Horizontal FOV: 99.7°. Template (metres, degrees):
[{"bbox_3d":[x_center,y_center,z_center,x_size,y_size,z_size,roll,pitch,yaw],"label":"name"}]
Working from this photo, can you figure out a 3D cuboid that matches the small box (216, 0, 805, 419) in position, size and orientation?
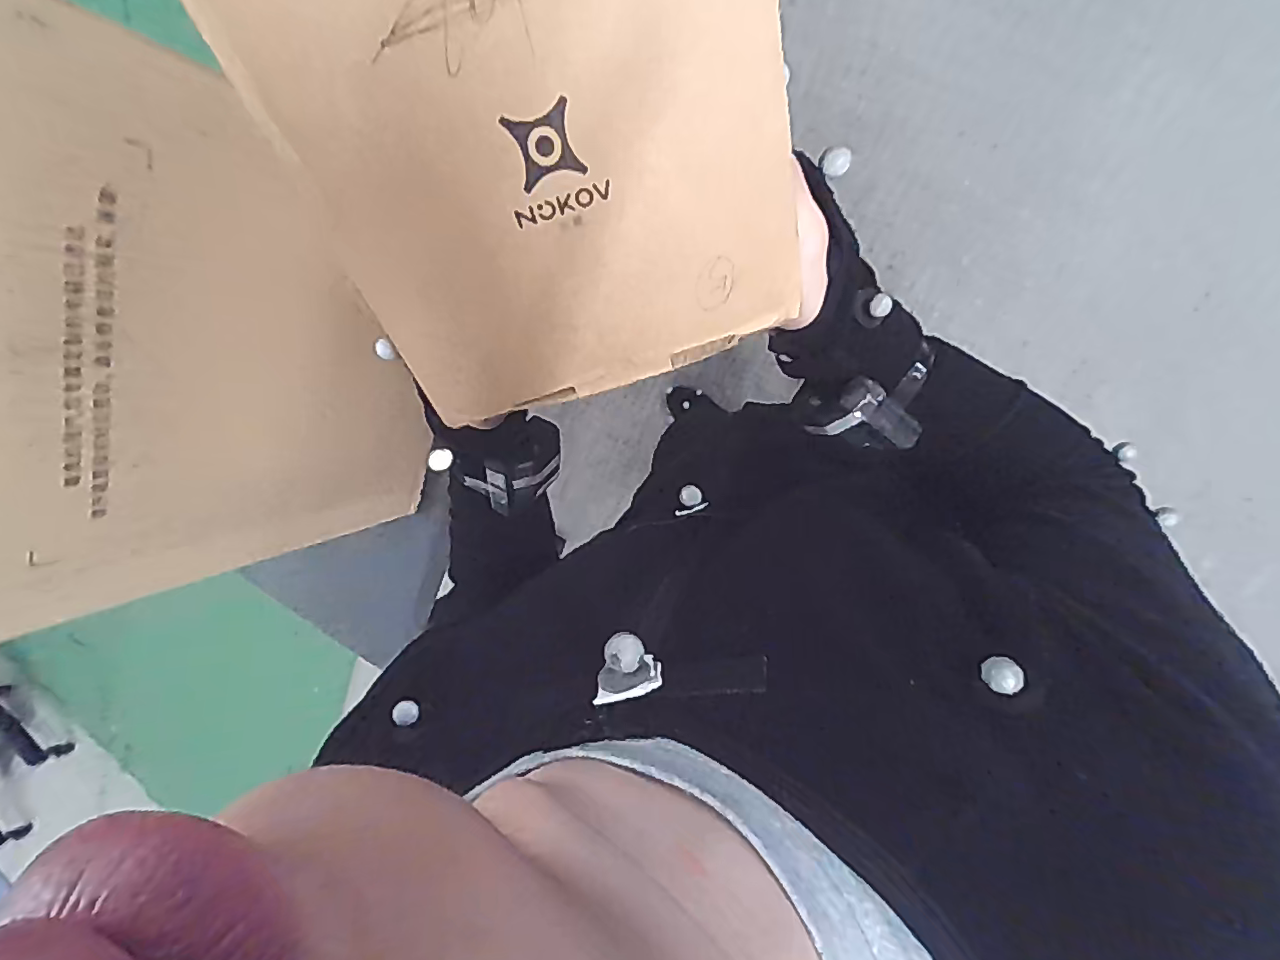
[{"bbox_3d":[-0.036,-0.161,0.251,0.168,0.176,0.179,-17,128,3],"label":"small box"}]
